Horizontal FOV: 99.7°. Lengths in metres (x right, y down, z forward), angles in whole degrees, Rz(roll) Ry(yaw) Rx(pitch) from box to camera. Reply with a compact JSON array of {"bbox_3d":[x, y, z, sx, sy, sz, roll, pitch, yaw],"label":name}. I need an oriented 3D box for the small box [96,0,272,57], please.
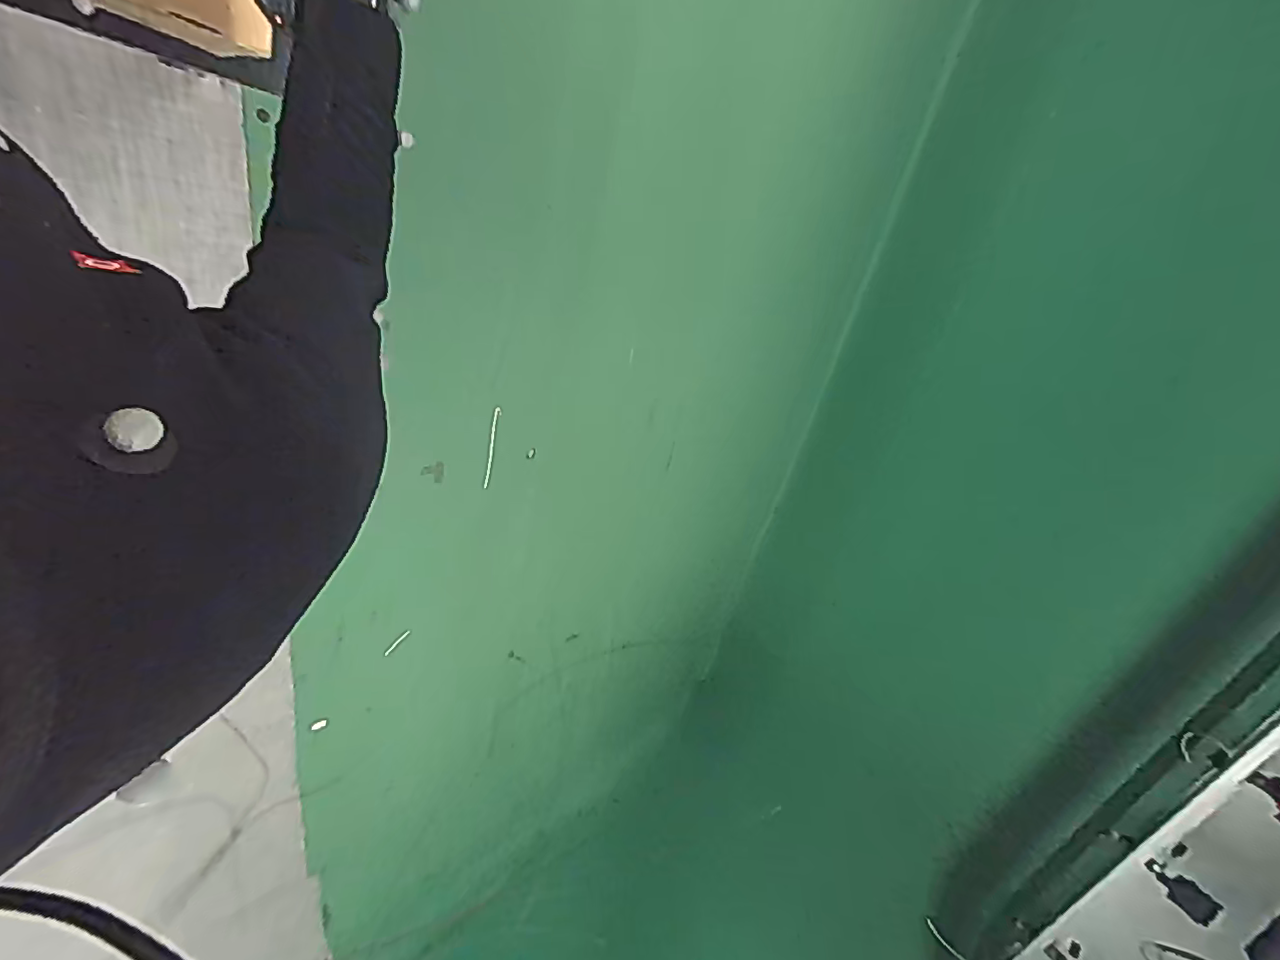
[{"bbox_3d":[-0.367,-0.432,0.367,0.168,0.176,0.179,-7,125,-48],"label":"small box"}]
